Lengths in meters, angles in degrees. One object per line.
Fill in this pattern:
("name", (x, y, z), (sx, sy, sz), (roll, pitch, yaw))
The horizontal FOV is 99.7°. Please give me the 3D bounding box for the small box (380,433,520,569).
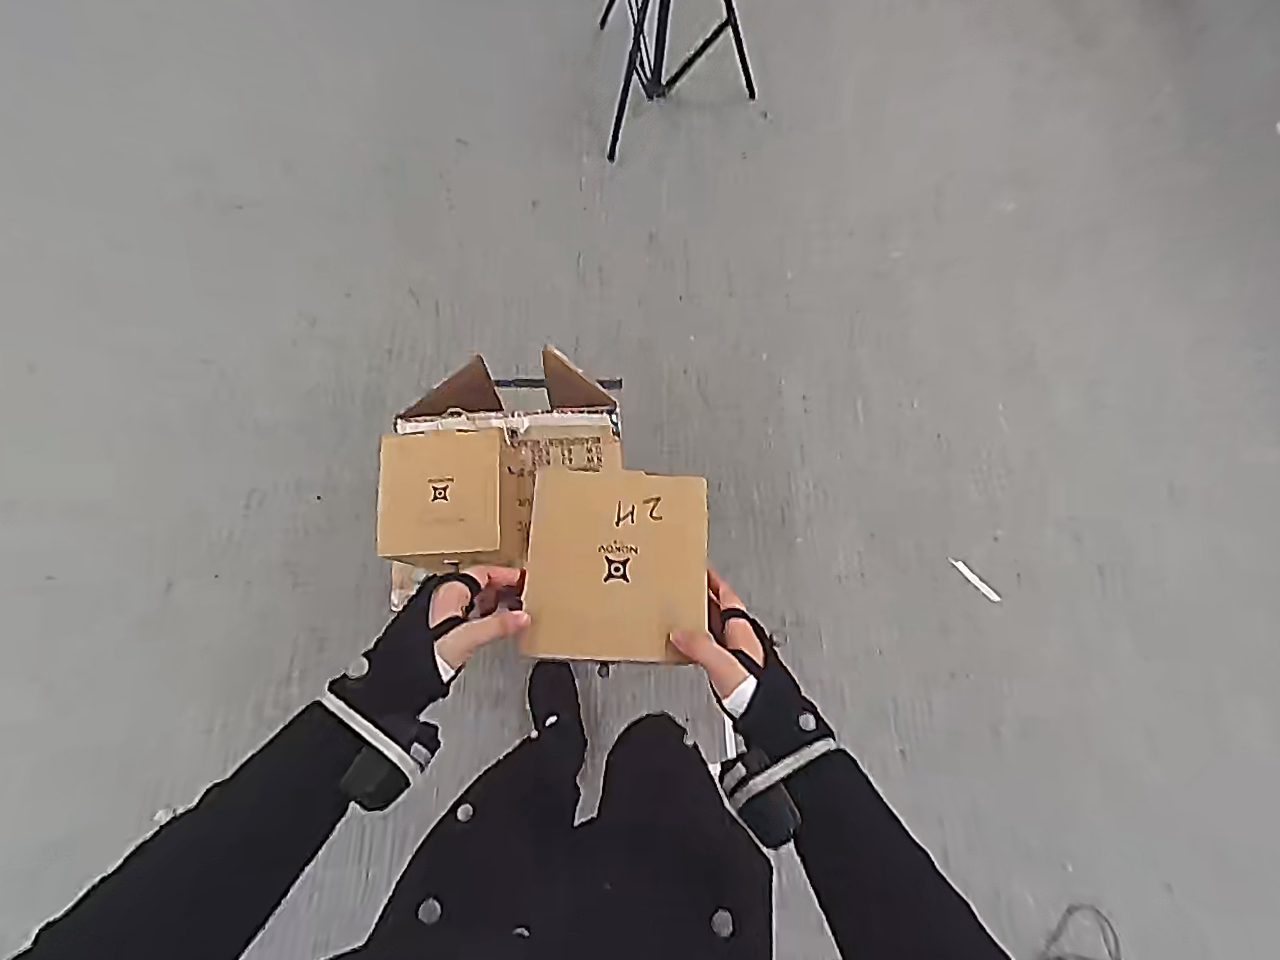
("small box", (-0.280, 0.039, 0.828), (0.168, 0.176, 0.179), (-4, 78, -5))
